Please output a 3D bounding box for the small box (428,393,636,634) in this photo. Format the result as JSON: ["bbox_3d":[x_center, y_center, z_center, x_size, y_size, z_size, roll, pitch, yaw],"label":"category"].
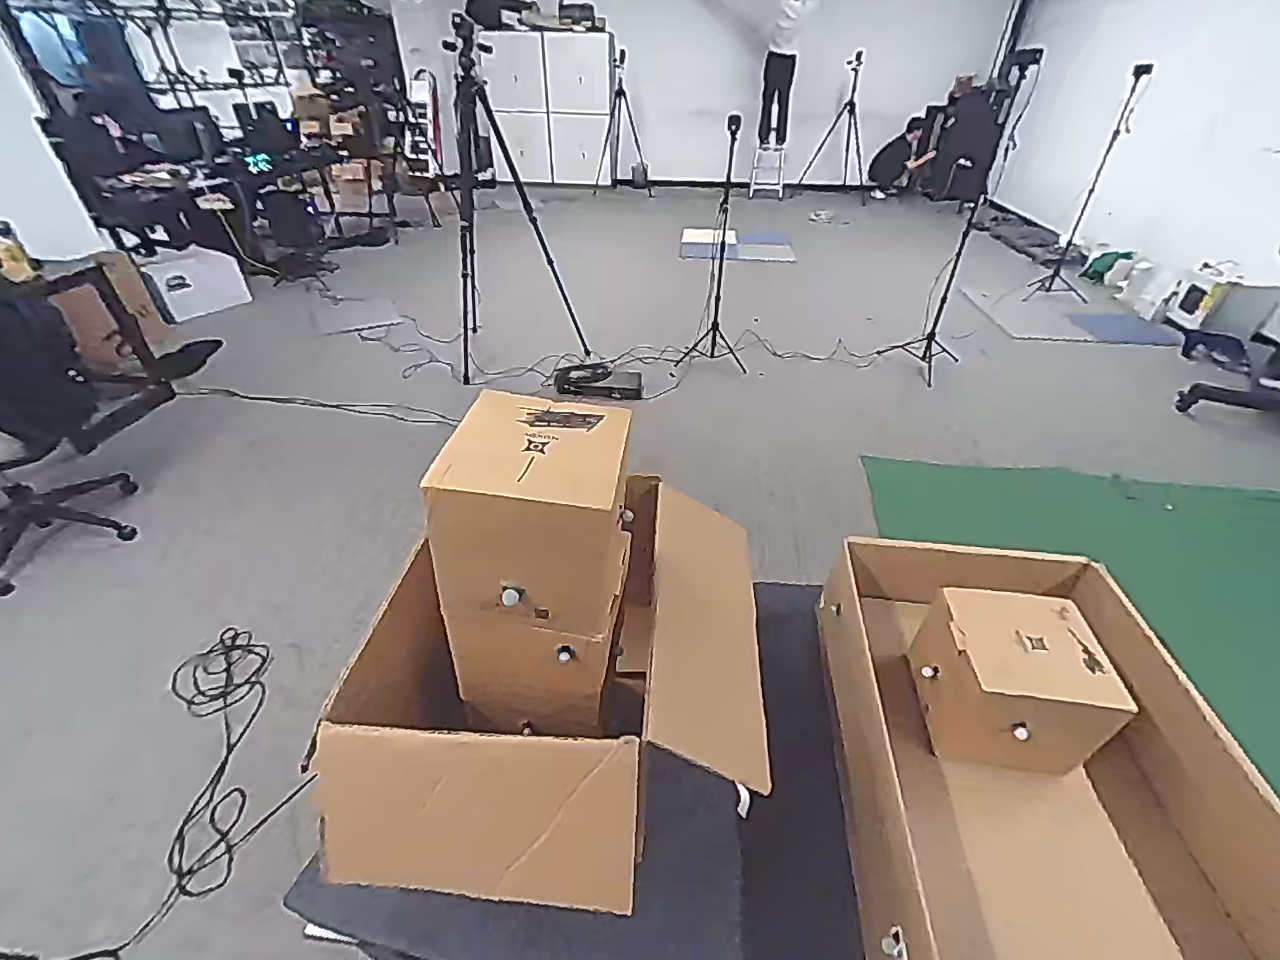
[{"bbox_3d":[-0.101,0.031,0.567,0.168,0.176,0.179,7,37,1],"label":"small box"}]
